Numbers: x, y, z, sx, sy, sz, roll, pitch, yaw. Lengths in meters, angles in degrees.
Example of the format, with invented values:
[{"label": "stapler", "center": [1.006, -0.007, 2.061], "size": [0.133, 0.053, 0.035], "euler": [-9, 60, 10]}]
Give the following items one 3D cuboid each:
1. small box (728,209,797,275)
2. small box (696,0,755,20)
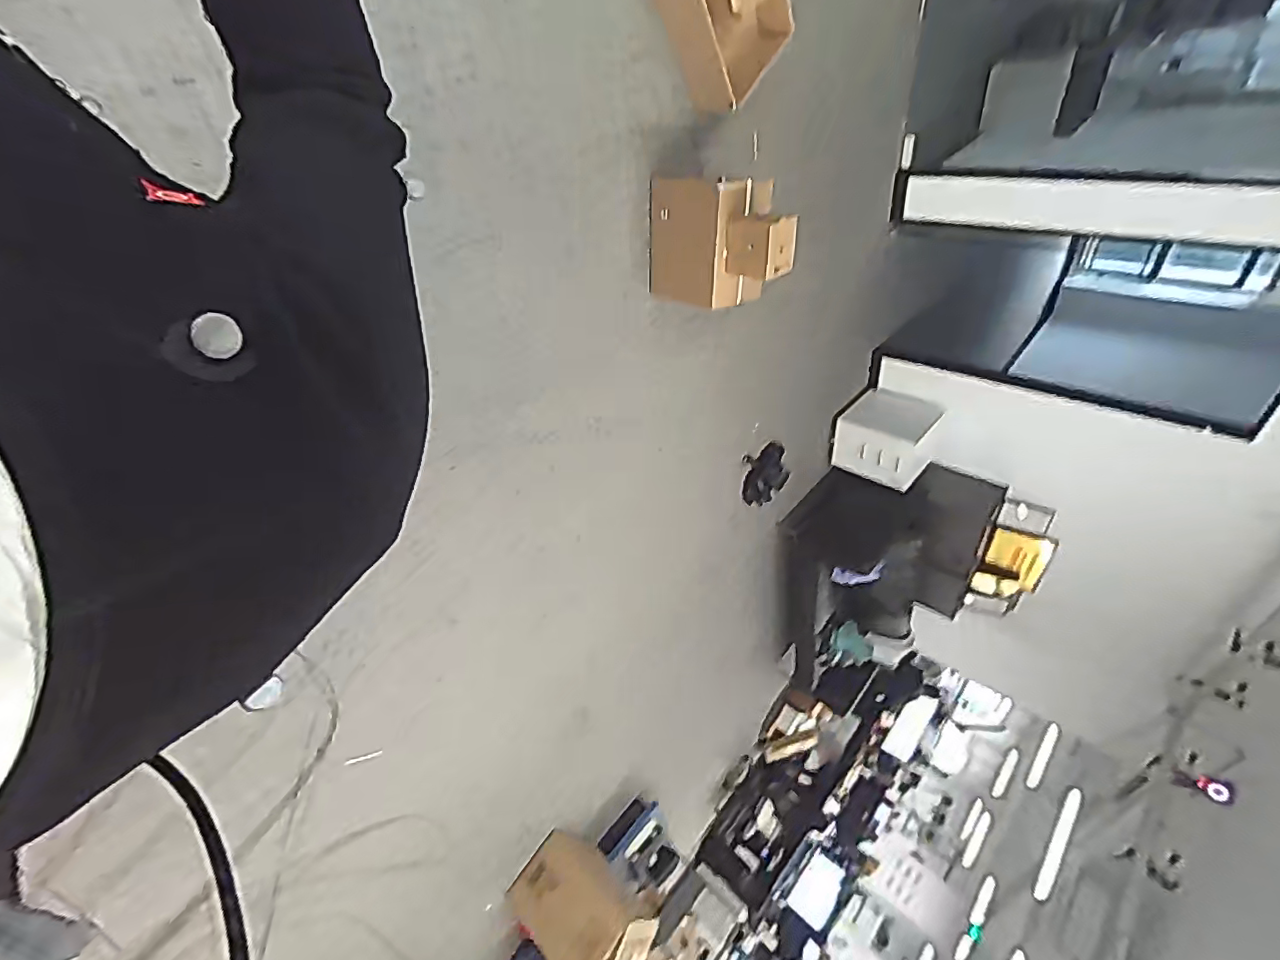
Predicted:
[{"label": "small box", "center": [0.410, -0.810, 1.830], "size": [0.168, 0.176, 0.179], "euler": [-33, 134, -33]}, {"label": "small box", "center": [0.270, -1.548, 1.646], "size": [0.179, 0.176, 0.168], "euler": [-52, 142, -17]}]
